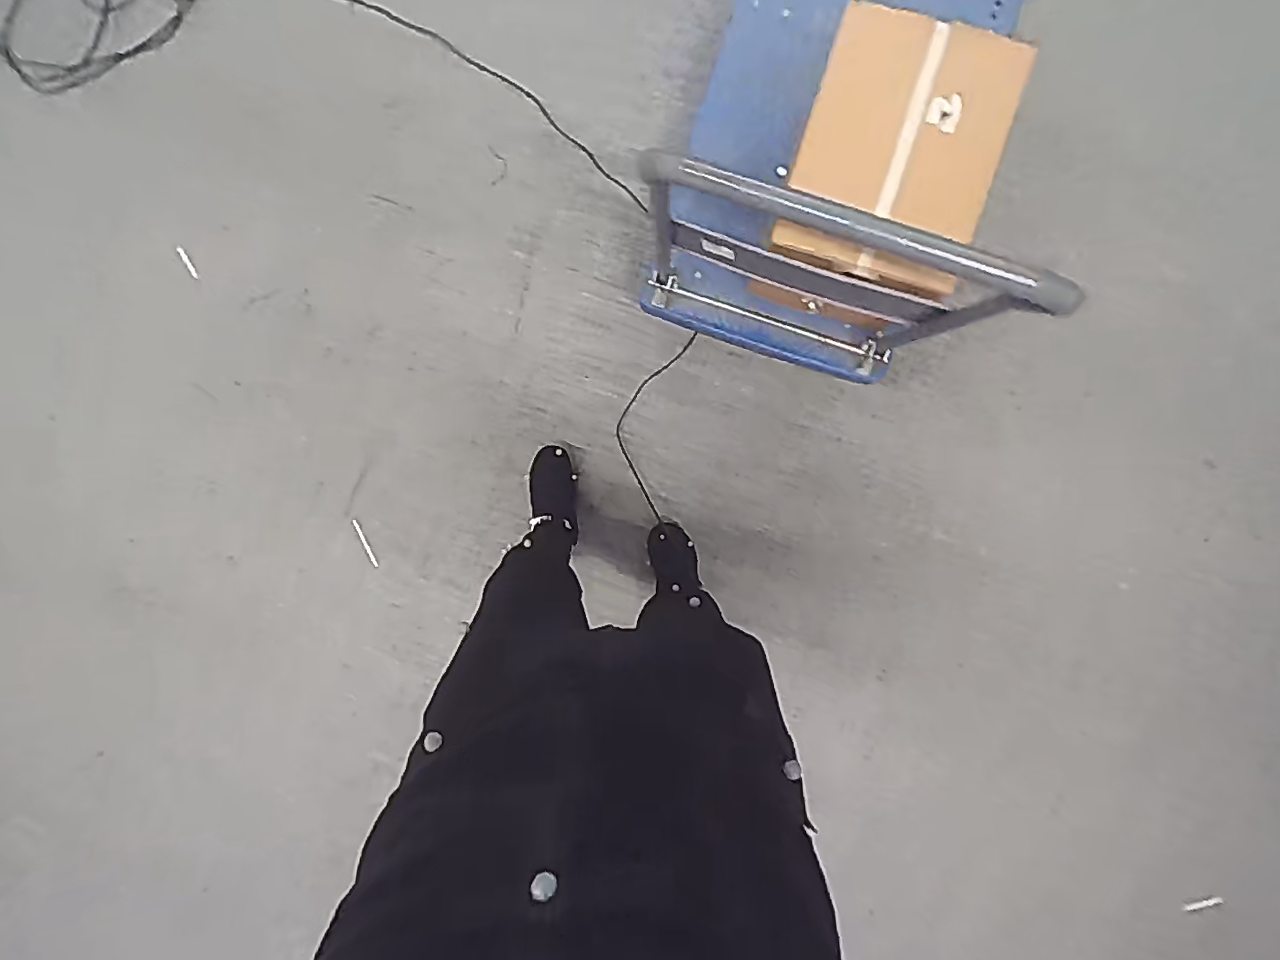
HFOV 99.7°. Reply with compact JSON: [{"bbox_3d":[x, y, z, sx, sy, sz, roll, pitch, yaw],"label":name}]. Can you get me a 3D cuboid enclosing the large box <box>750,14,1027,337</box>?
[{"bbox_3d":[0.432,-0.535,1.036,0.320,0.320,0.408,18,93,1],"label":"large box"}]
